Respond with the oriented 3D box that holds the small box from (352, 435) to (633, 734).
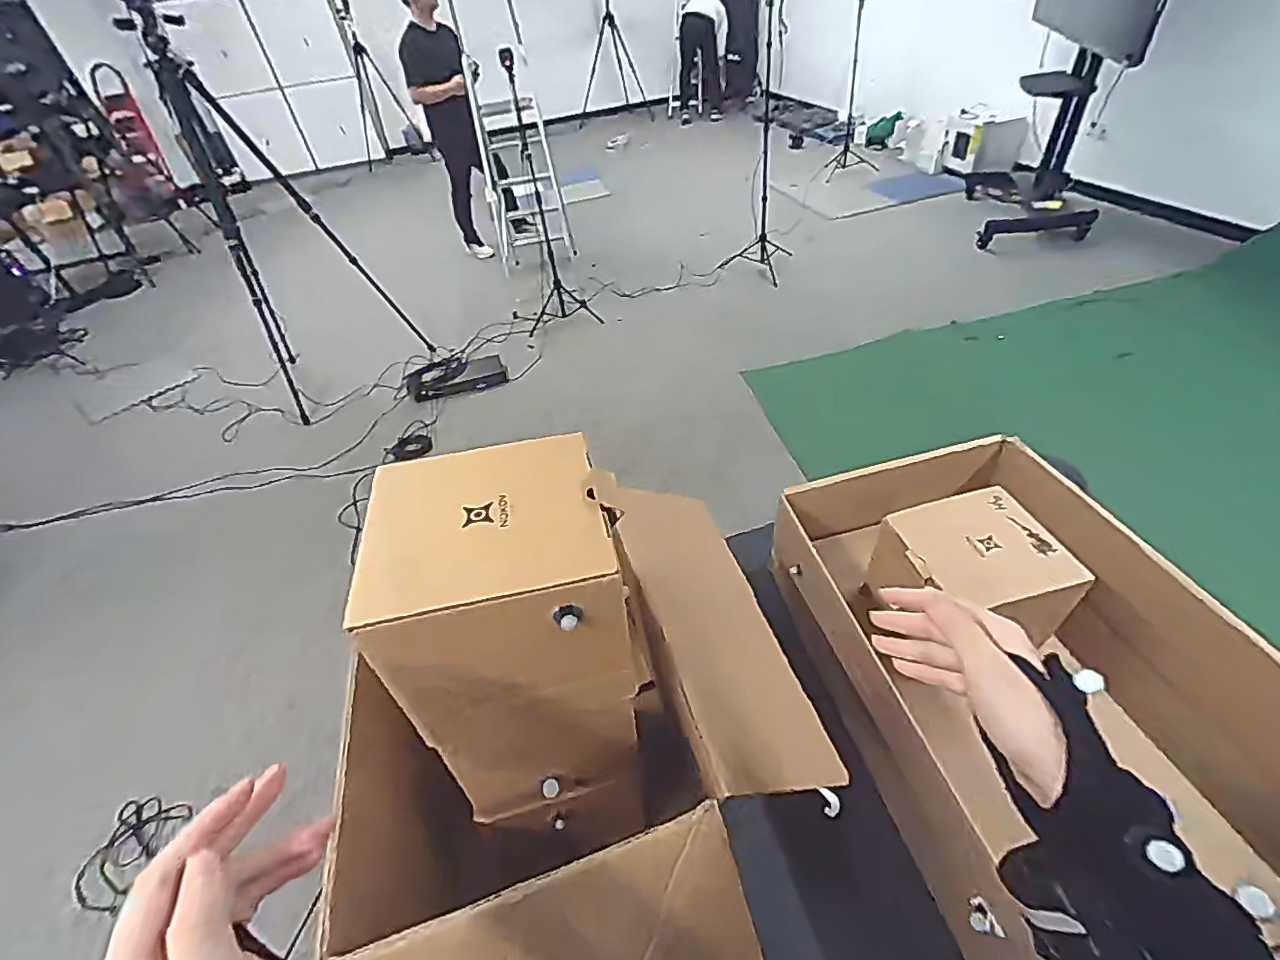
[{"bbox_3d":[-0.109,0.087,0.458,0.179,0.176,0.168,-10,42,-9],"label":"small box"}]
